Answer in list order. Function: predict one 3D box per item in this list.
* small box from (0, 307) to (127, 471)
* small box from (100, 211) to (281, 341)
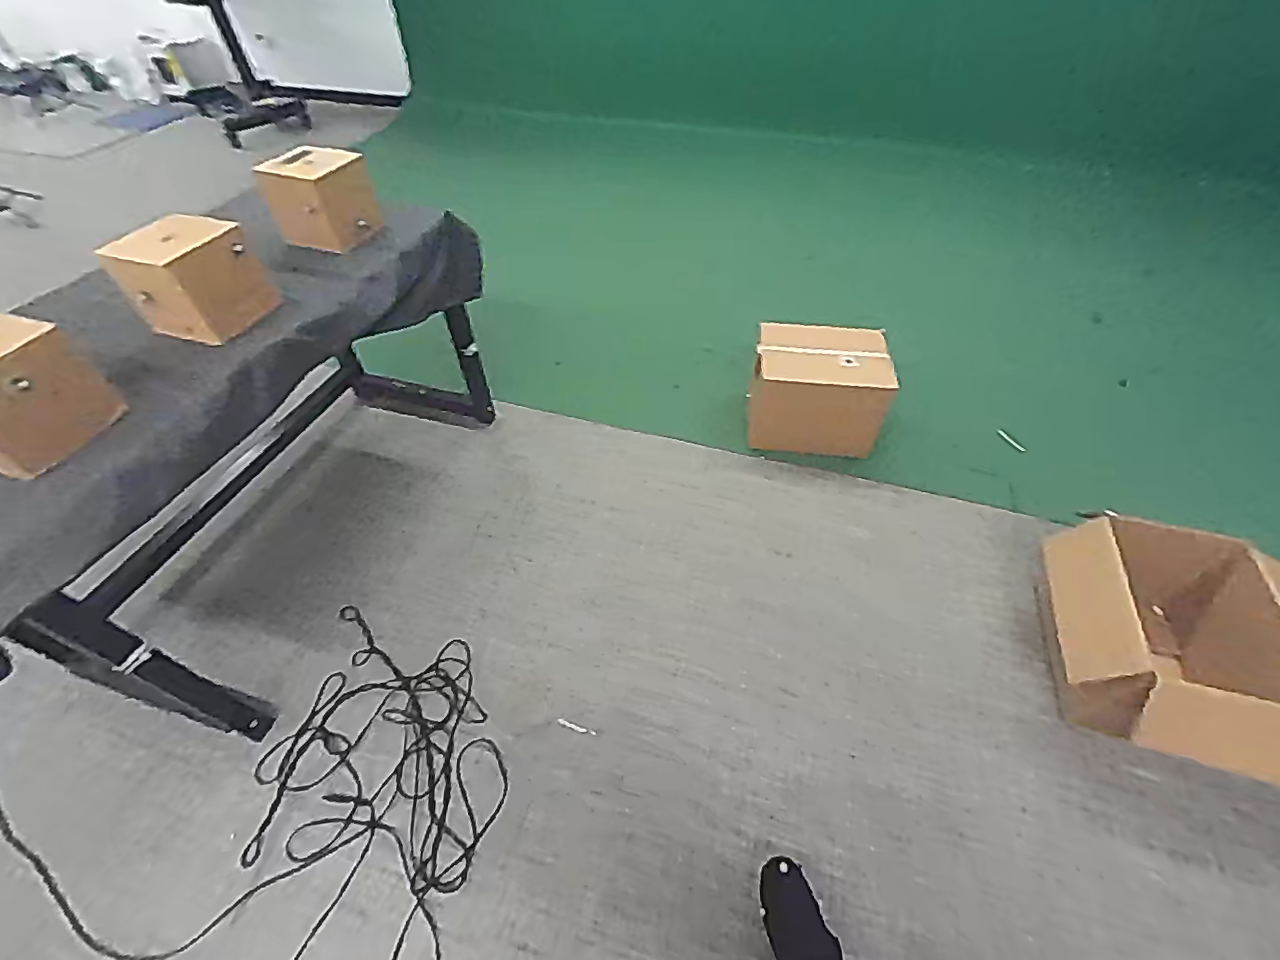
[{"bbox_3d":[-0.960,-0.139,0.820,0.168,0.176,0.179,13,48,10],"label":"small box"},{"bbox_3d":[-0.850,-0.393,1.047,0.168,0.176,0.179,13,49,12],"label":"small box"}]
